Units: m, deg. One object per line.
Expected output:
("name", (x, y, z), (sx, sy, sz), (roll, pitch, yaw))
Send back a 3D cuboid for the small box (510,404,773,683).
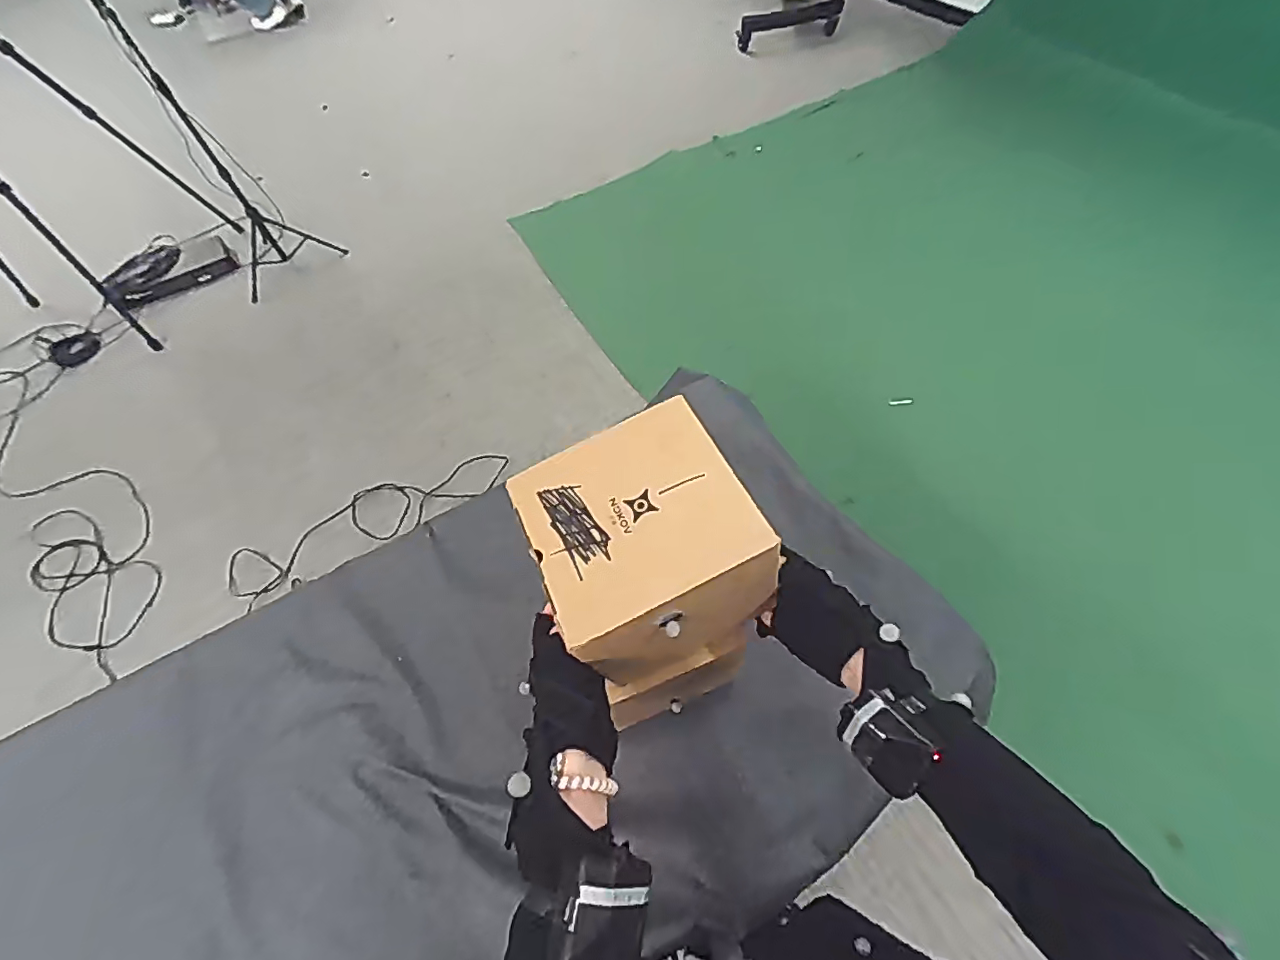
("small box", (0.009, 0.069, 0.505), (0.179, 0.176, 0.168), (-27, 59, -3))
